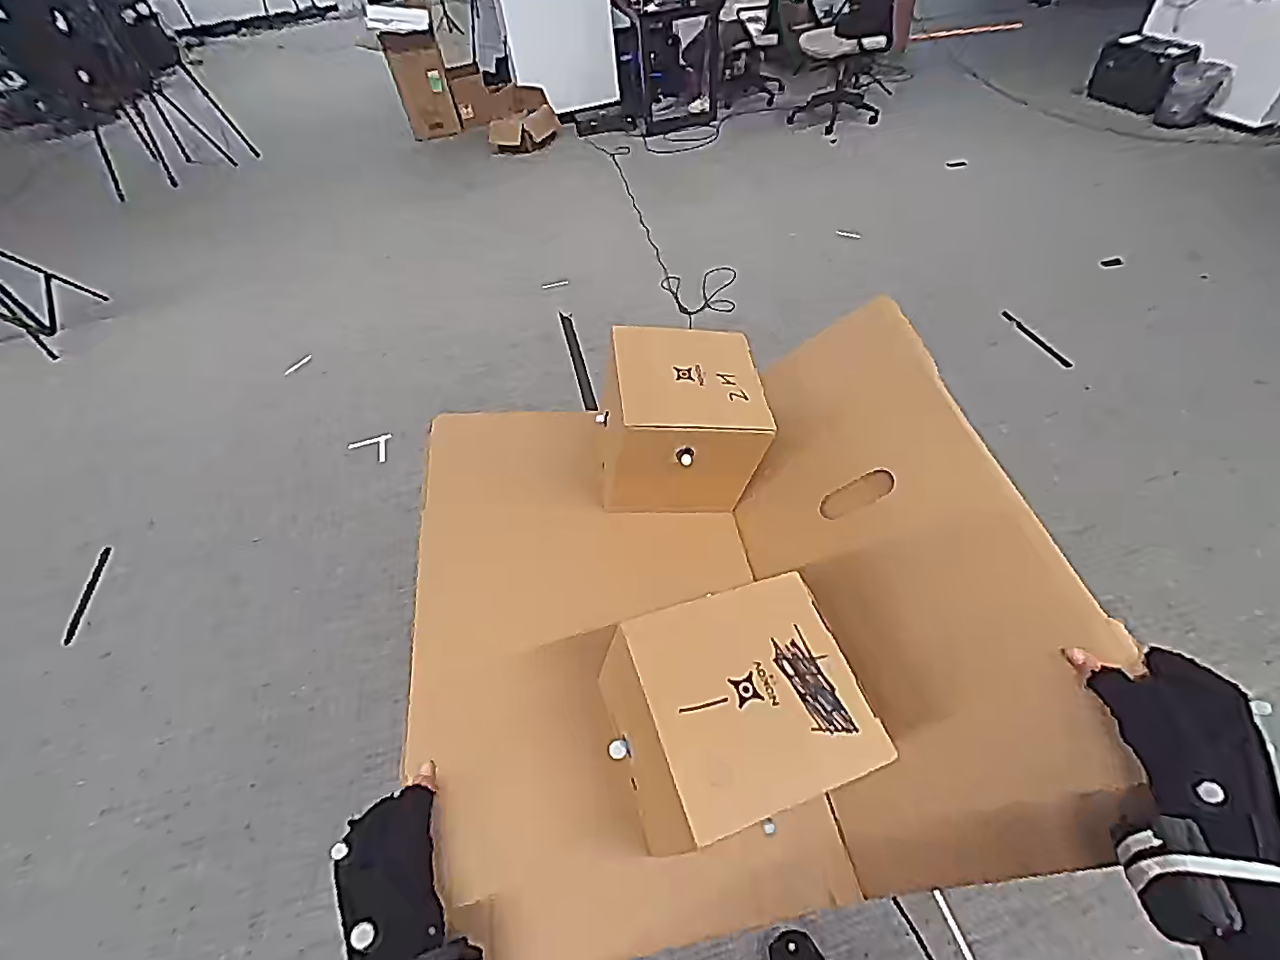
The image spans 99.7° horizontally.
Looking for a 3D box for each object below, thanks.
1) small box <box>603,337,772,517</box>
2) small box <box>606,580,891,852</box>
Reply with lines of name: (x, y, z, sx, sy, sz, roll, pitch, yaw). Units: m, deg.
small box: (0.046, -0.063, 0.703, 0.179, 0.176, 0.168, 1, 54, -11)
small box: (0.080, 0.217, 0.499, 0.179, 0.176, 0.168, -12, 57, -18)
